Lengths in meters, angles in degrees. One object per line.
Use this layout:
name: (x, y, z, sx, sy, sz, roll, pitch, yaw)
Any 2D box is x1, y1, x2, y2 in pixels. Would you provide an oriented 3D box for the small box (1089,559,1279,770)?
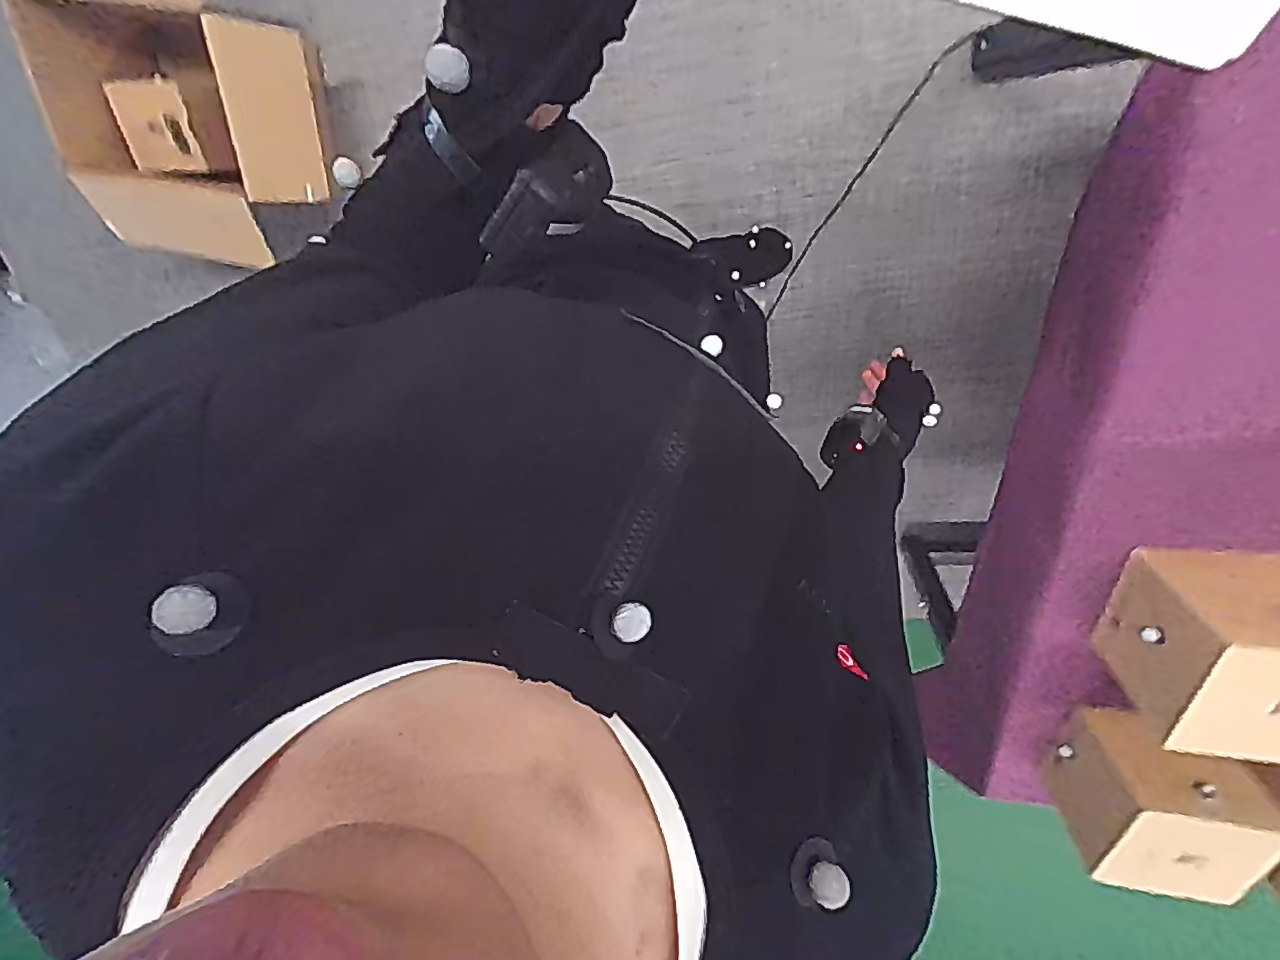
small box: (0.691, 0.210, 0.643, 0.179, 0.176, 0.168, 3, 119, 11)

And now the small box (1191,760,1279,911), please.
small box: (0.939, 0.468, 0.736, 0.179, 0.176, 0.168, 4, 119, 9)
